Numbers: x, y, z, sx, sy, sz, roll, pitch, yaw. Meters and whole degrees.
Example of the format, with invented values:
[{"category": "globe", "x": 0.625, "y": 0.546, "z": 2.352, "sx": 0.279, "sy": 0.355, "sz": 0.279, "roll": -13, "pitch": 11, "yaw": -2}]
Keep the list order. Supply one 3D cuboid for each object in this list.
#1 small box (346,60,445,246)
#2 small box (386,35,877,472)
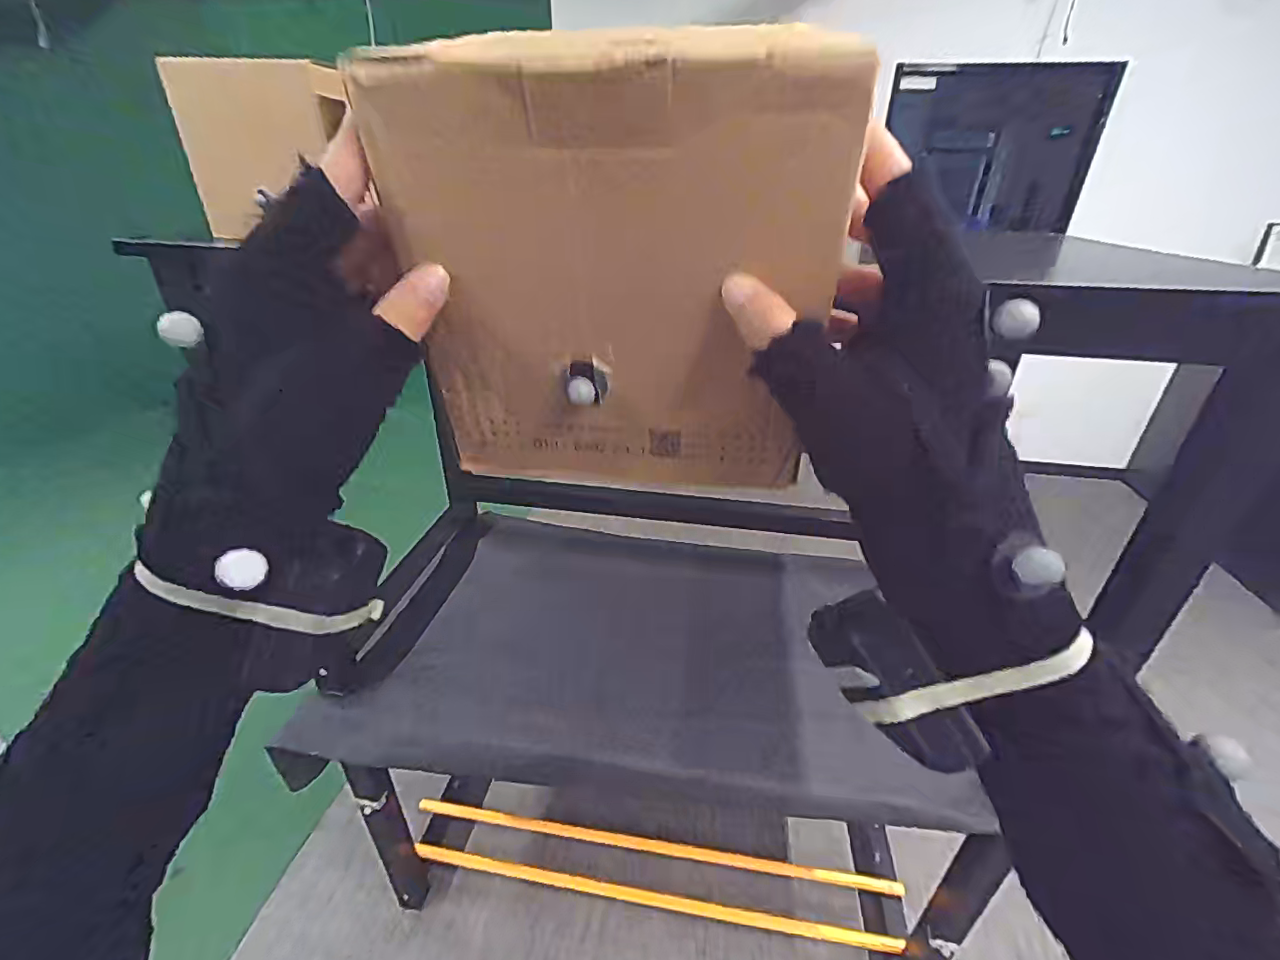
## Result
[{"category": "small box", "x": -0.191, "y": -0.363, "z": 0.620, "sx": 0.168, "sy": 0.176, "sz": 0.179, "roll": 7, "pitch": 29, "yaw": 8}, {"category": "small box", "x": 0.003, "y": -0.126, "z": 0.288, "sx": 0.168, "sy": 0.176, "sz": 0.179, "roll": 3, "pitch": 41, "yaw": 6}]
